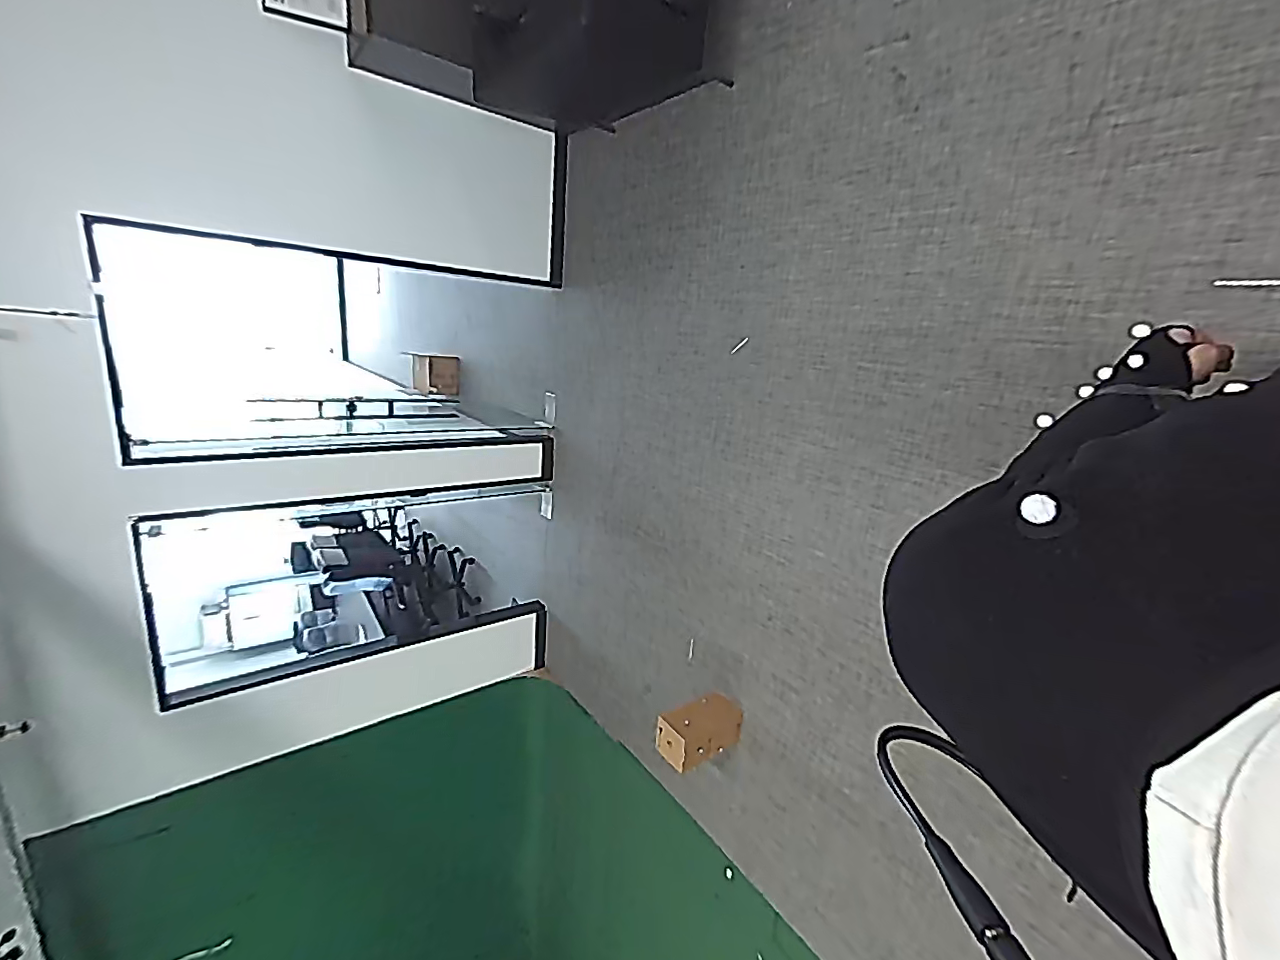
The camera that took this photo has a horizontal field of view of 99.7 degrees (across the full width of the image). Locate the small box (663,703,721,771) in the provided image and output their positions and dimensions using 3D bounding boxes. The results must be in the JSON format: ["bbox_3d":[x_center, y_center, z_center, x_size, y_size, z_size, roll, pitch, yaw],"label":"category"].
[{"bbox_3d":[0.220,1.080,2.289,0.179,0.176,0.168,23,113,50],"label":"small box"}]
